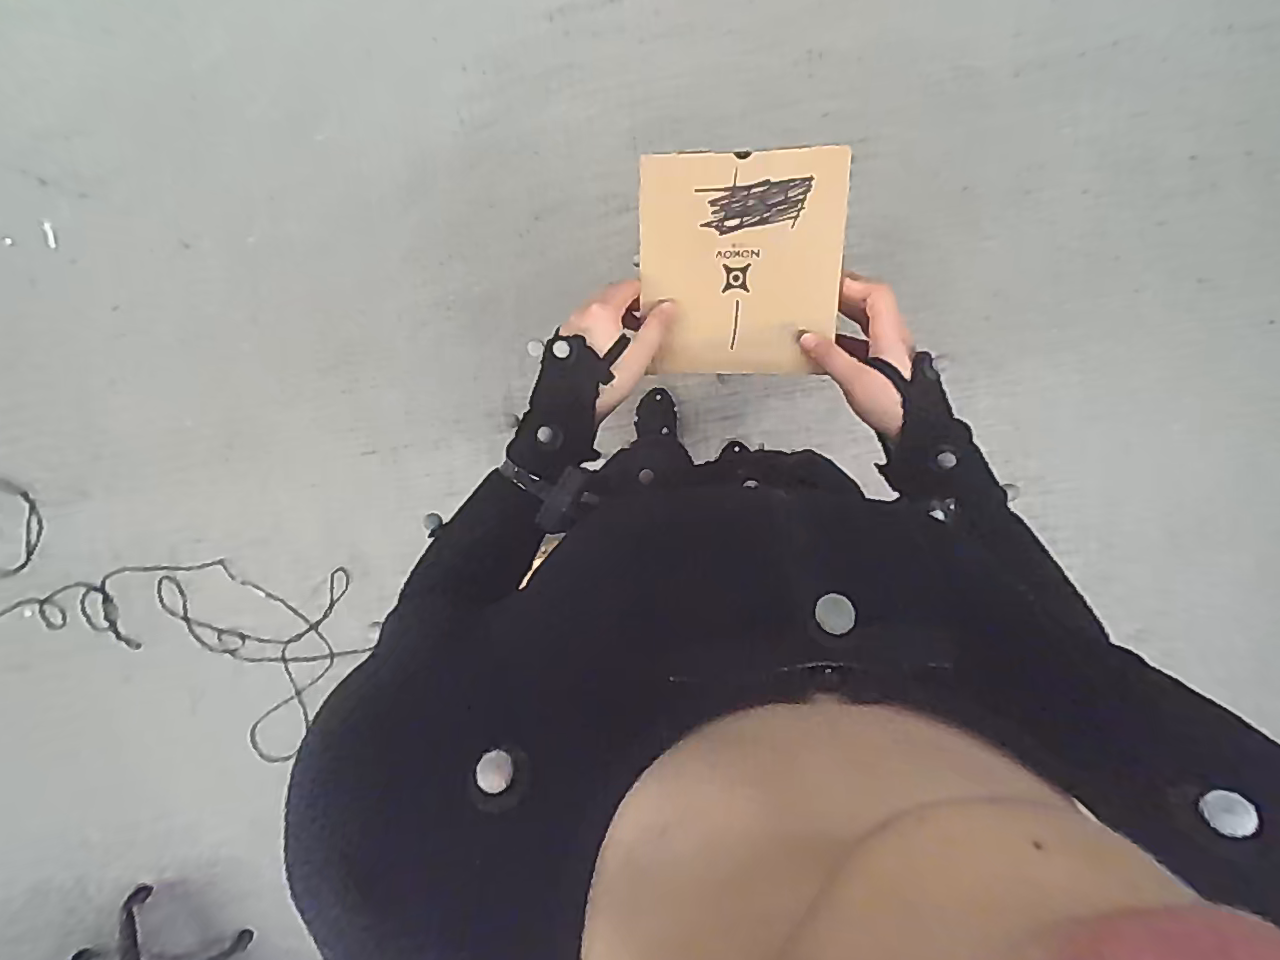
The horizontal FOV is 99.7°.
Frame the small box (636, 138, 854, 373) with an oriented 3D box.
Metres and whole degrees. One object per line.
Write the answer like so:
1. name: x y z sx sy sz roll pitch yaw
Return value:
1. small box: 0.089 -0.195 0.512 0.168 0.176 0.179 3 105 8
